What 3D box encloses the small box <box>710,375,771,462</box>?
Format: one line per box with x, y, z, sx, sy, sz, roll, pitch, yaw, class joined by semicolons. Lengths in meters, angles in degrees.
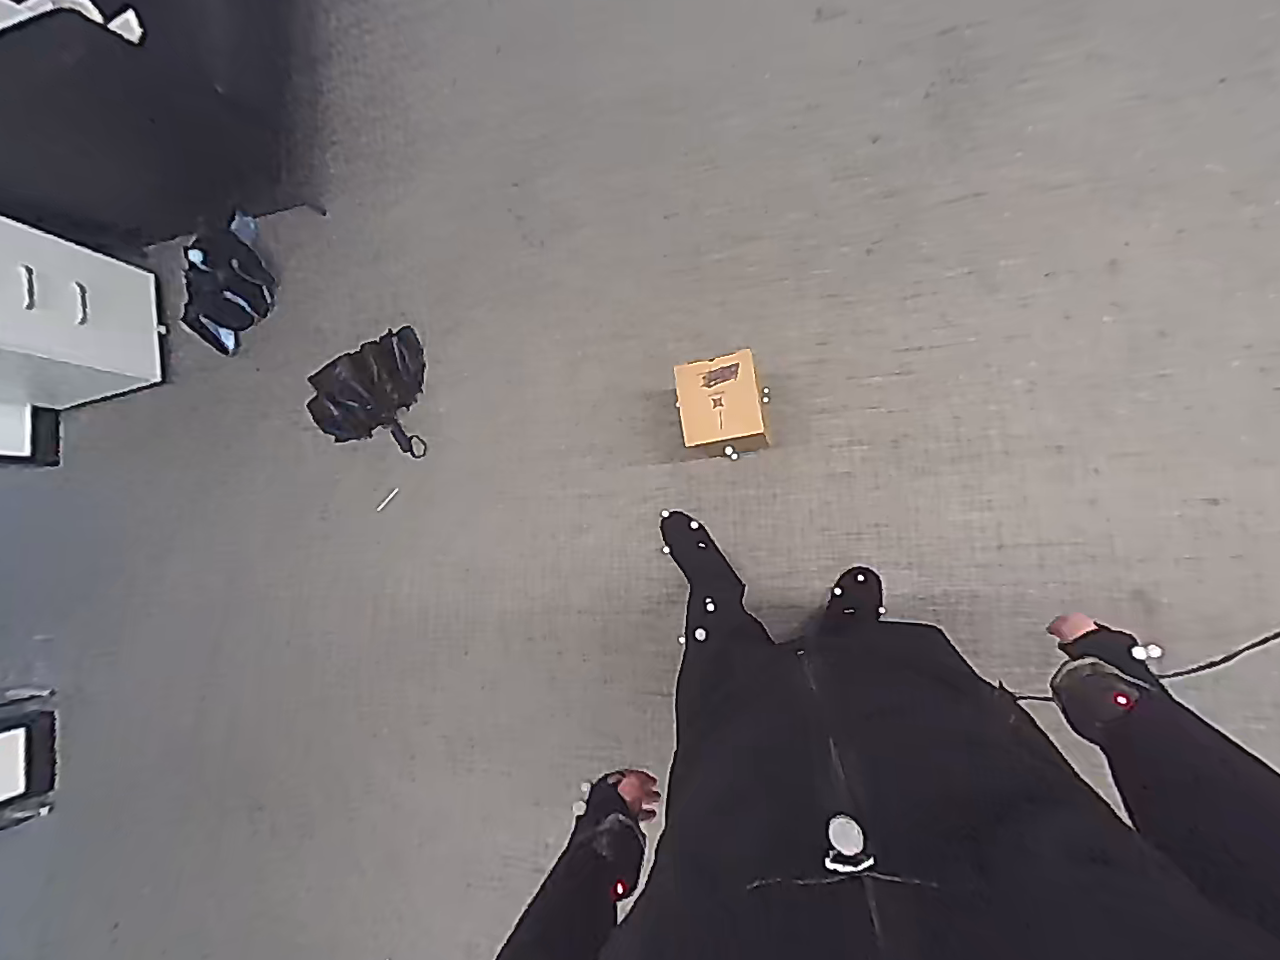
0.229;-0.146;1.345;0.168;0.176;0.179;-9;86;16;small box

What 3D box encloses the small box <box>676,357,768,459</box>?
0.184;-0.149;1.186;0.168;0.176;0.179;-9;85;16;small box
